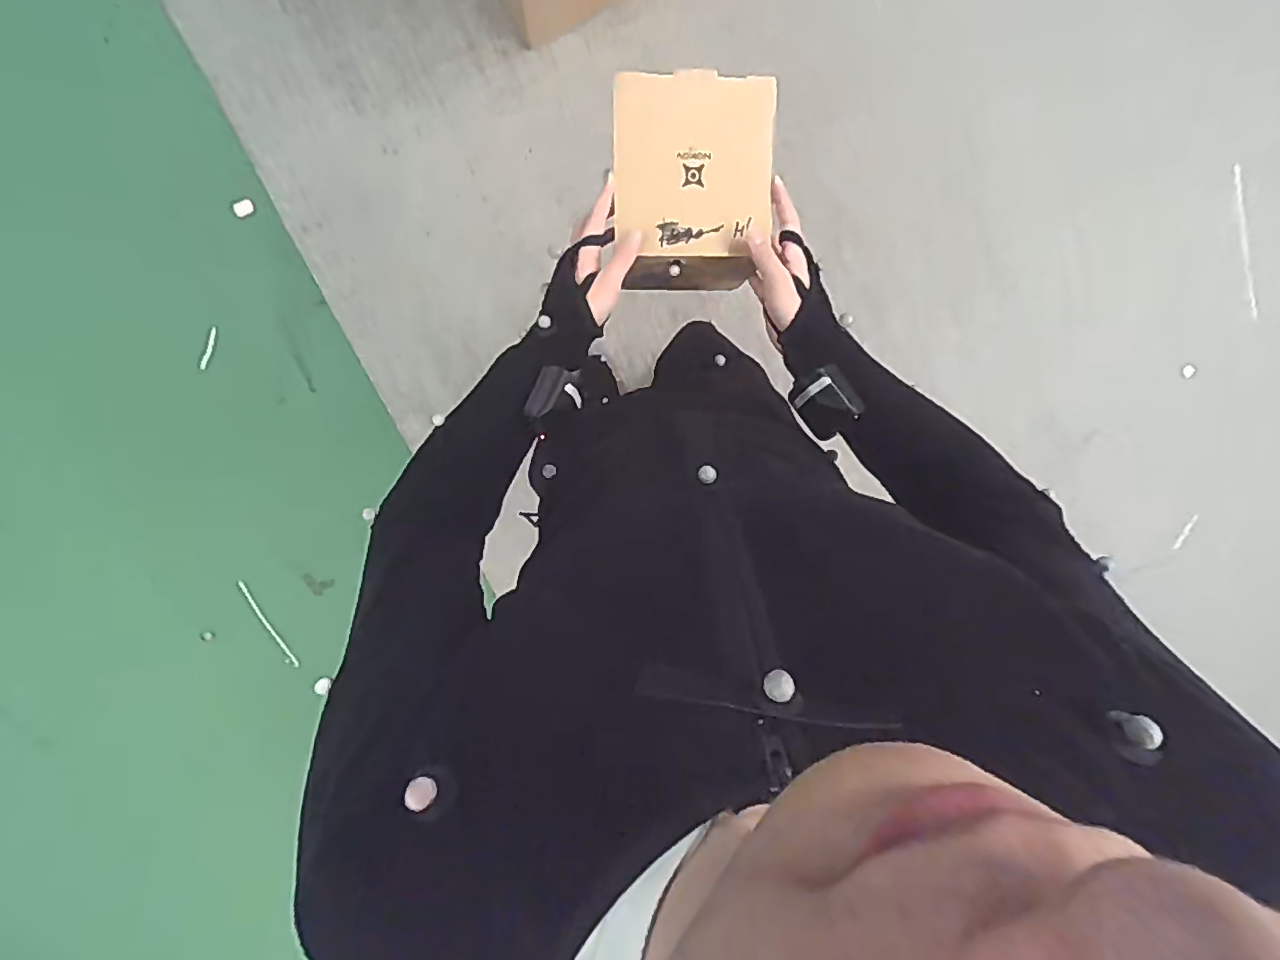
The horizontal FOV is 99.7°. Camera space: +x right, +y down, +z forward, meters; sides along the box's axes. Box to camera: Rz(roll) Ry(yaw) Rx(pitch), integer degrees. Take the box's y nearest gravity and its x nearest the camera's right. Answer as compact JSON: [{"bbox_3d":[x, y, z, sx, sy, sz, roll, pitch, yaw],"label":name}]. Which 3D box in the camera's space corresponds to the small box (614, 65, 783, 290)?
[{"bbox_3d":[0.055,-0.326,0.617,0.168,0.176,0.179,0,99,-3],"label":"small box"}]
